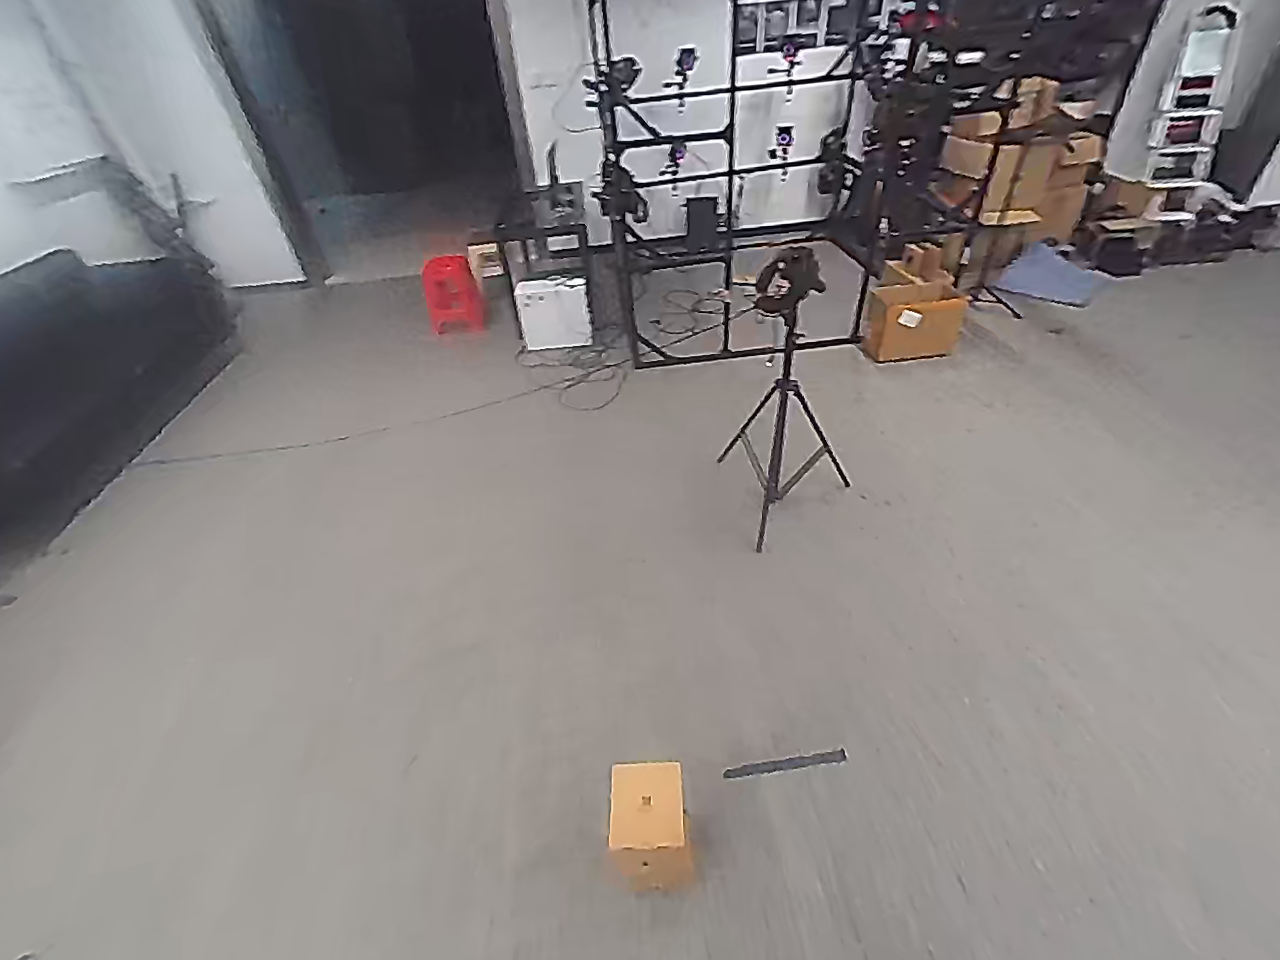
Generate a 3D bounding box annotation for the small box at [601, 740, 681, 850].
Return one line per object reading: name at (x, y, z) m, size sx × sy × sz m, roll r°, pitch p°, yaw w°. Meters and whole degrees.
small box at (0.006, 0.724, 1.242) m, size 0.168 × 0.176 × 0.179 m, roll -4°, pitch 41°, yaw 3°

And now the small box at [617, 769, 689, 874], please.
small box at (0.030, 0.848, 1.344) m, size 0.168 × 0.176 × 0.179 m, roll -6°, pitch 40°, yaw 1°
